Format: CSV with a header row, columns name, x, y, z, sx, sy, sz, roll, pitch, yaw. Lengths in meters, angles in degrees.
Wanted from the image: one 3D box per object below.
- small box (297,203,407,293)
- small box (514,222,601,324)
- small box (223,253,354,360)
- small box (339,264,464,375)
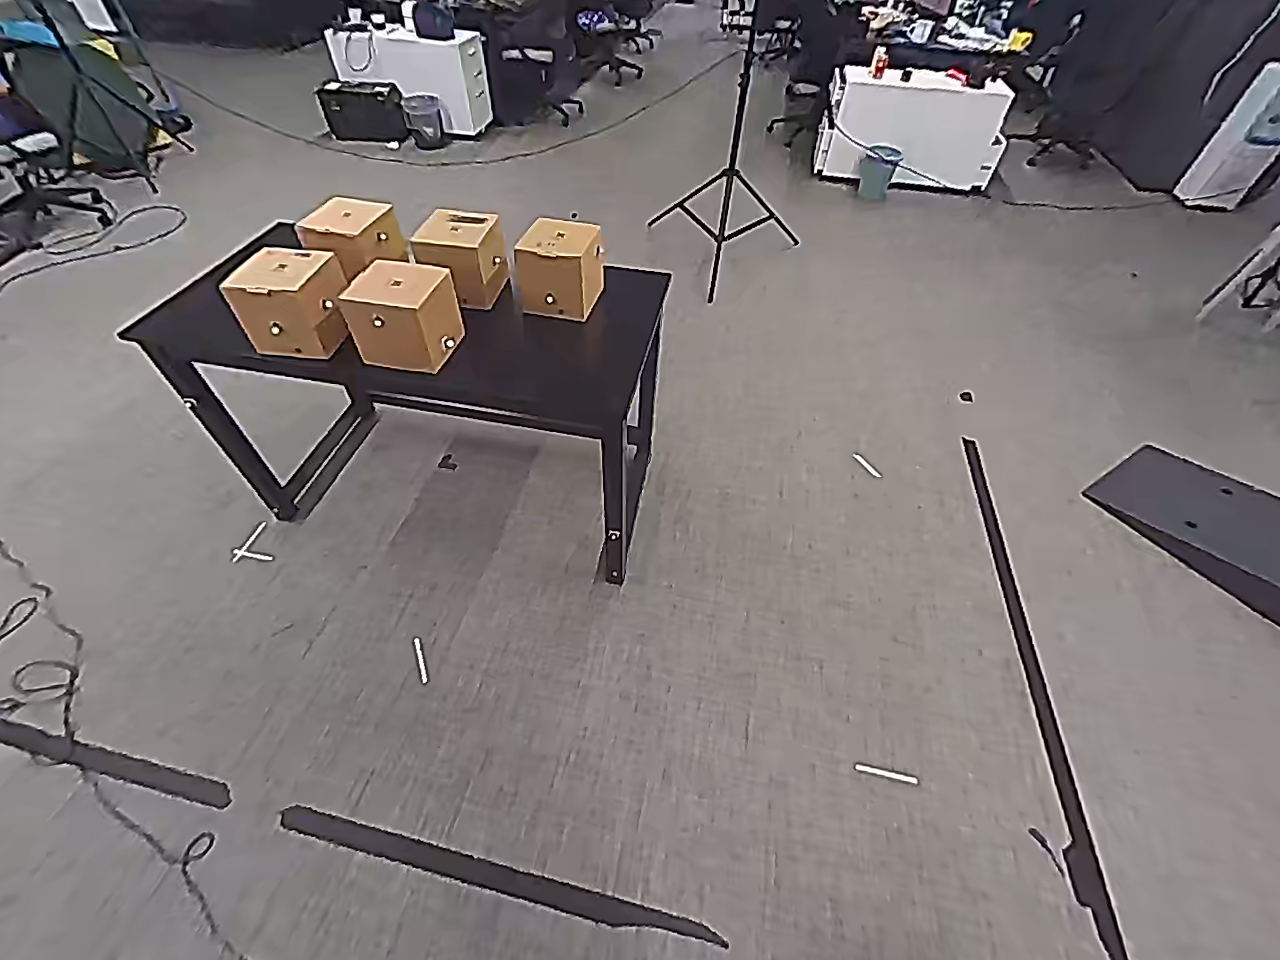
name,x,y,z,sx,sy,sz,roll,pitch,yaw
small box,-0.729,-0.588,1.398,0.168,0.176,0.179,10,50,7
small box,-0.198,-0.519,1.355,0.168,0.176,0.179,11,49,8
small box,-0.771,-0.388,1.219,0.168,0.176,0.179,5,49,2
small box,-0.517,-0.353,1.200,0.179,0.176,0.168,9,50,5
